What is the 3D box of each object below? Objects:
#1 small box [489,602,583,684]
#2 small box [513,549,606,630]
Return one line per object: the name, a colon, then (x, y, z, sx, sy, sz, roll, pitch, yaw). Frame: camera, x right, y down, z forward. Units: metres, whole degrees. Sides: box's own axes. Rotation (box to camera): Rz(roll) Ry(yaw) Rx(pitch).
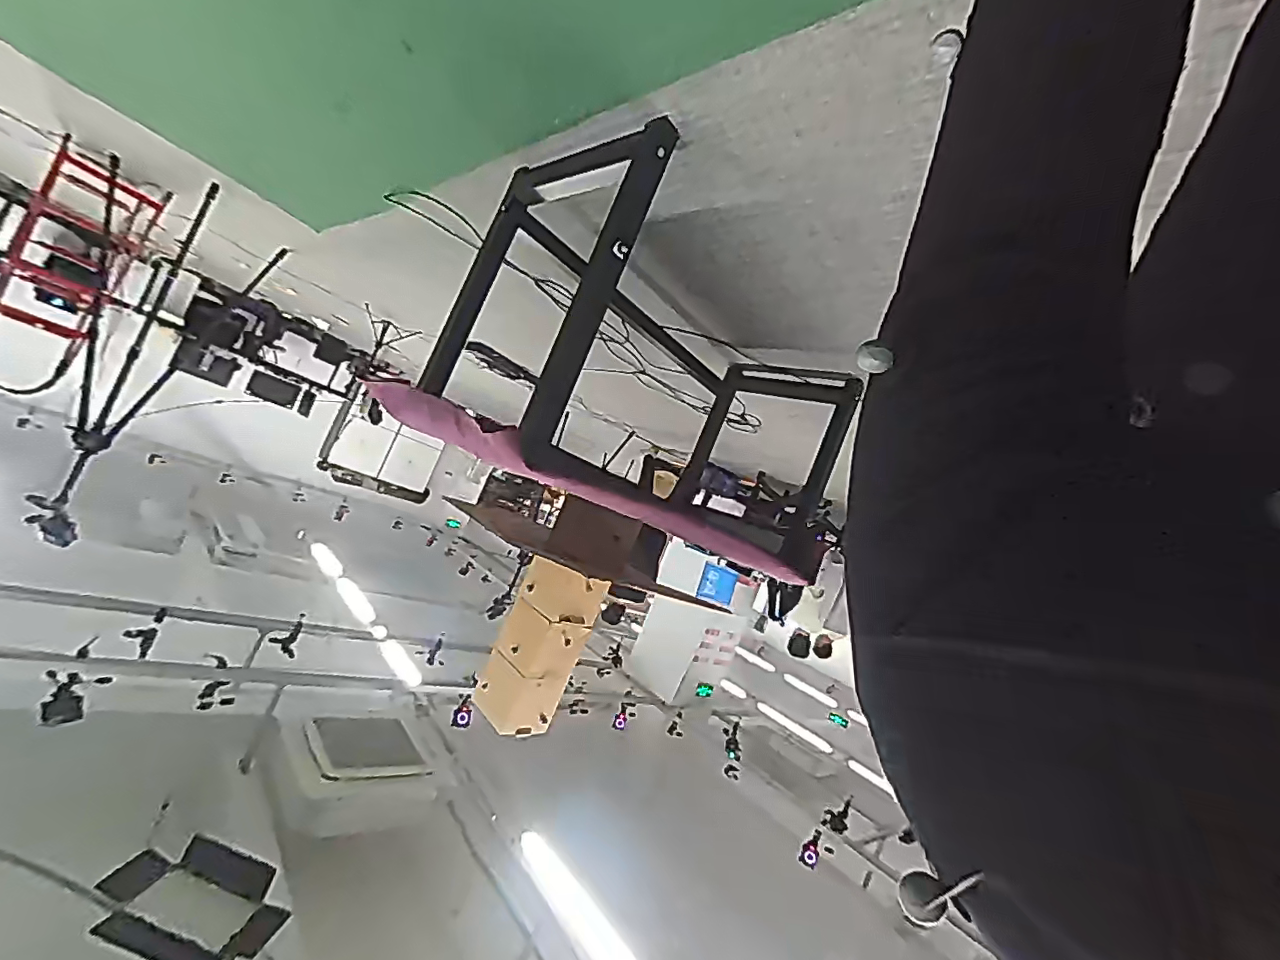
small box: (-0.292, 0.458, 1.545, 0.179, 0.176, 0.168, 21, 175, 44)
small box: (-0.227, 0.309, 1.553, 0.179, 0.176, 0.168, 21, 176, 42)
